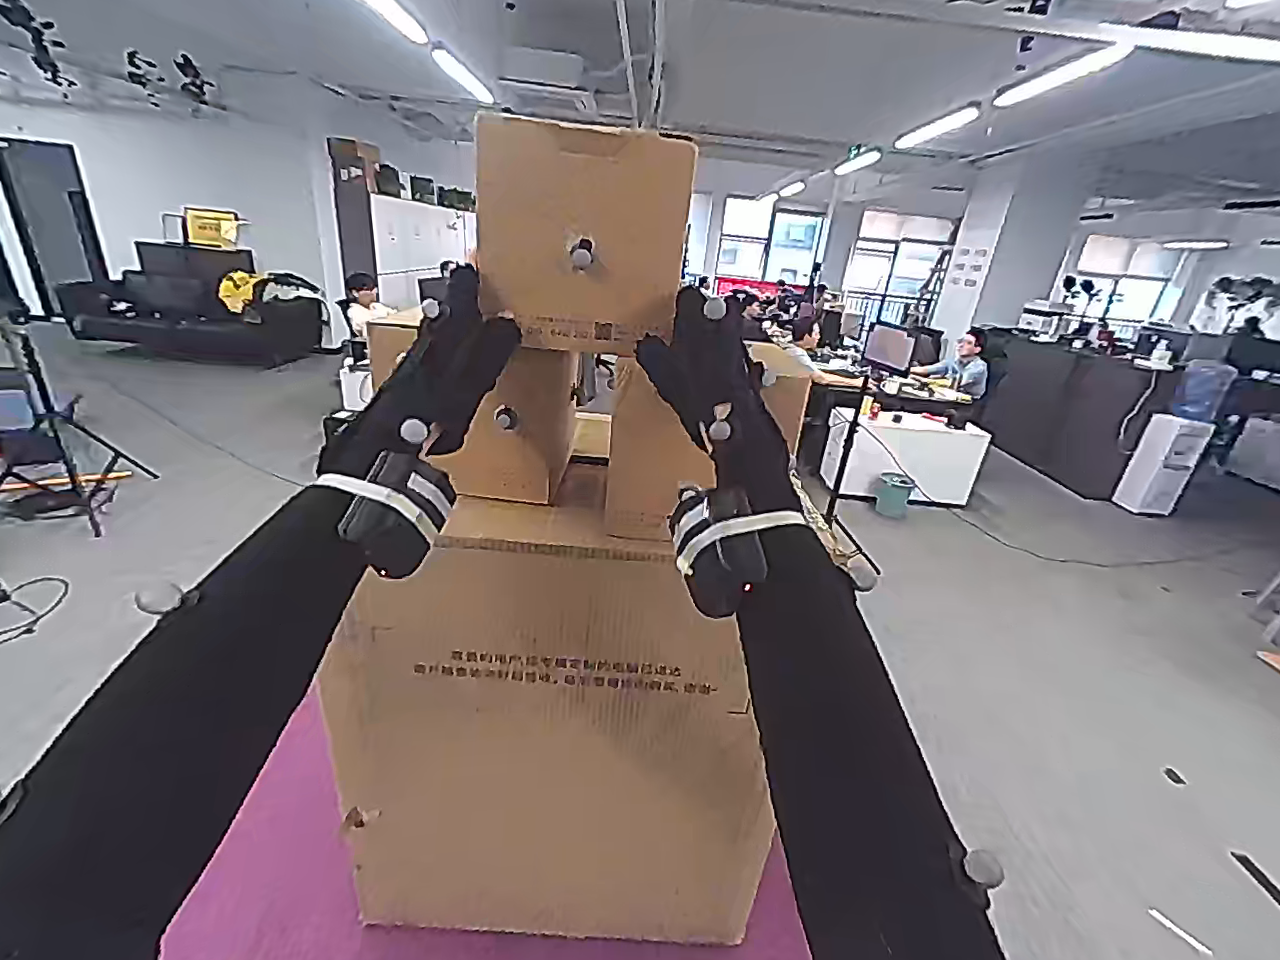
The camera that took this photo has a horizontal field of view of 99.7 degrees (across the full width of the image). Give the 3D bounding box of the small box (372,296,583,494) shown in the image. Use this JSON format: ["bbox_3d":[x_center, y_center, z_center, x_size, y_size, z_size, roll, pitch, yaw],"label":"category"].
[{"bbox_3d":[-0.160,-0.096,0.588,0.179,0.176,0.168,6,23,-1],"label":"small box"}]

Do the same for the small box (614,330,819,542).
[{"bbox_3d":[0.065,-0.056,0.553,0.168,0.176,0.179,5,23,1],"label":"small box"}]

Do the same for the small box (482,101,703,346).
[{"bbox_3d":[-0.047,-0.226,0.502,0.168,0.176,0.179,4,24,-8],"label":"small box"}]
